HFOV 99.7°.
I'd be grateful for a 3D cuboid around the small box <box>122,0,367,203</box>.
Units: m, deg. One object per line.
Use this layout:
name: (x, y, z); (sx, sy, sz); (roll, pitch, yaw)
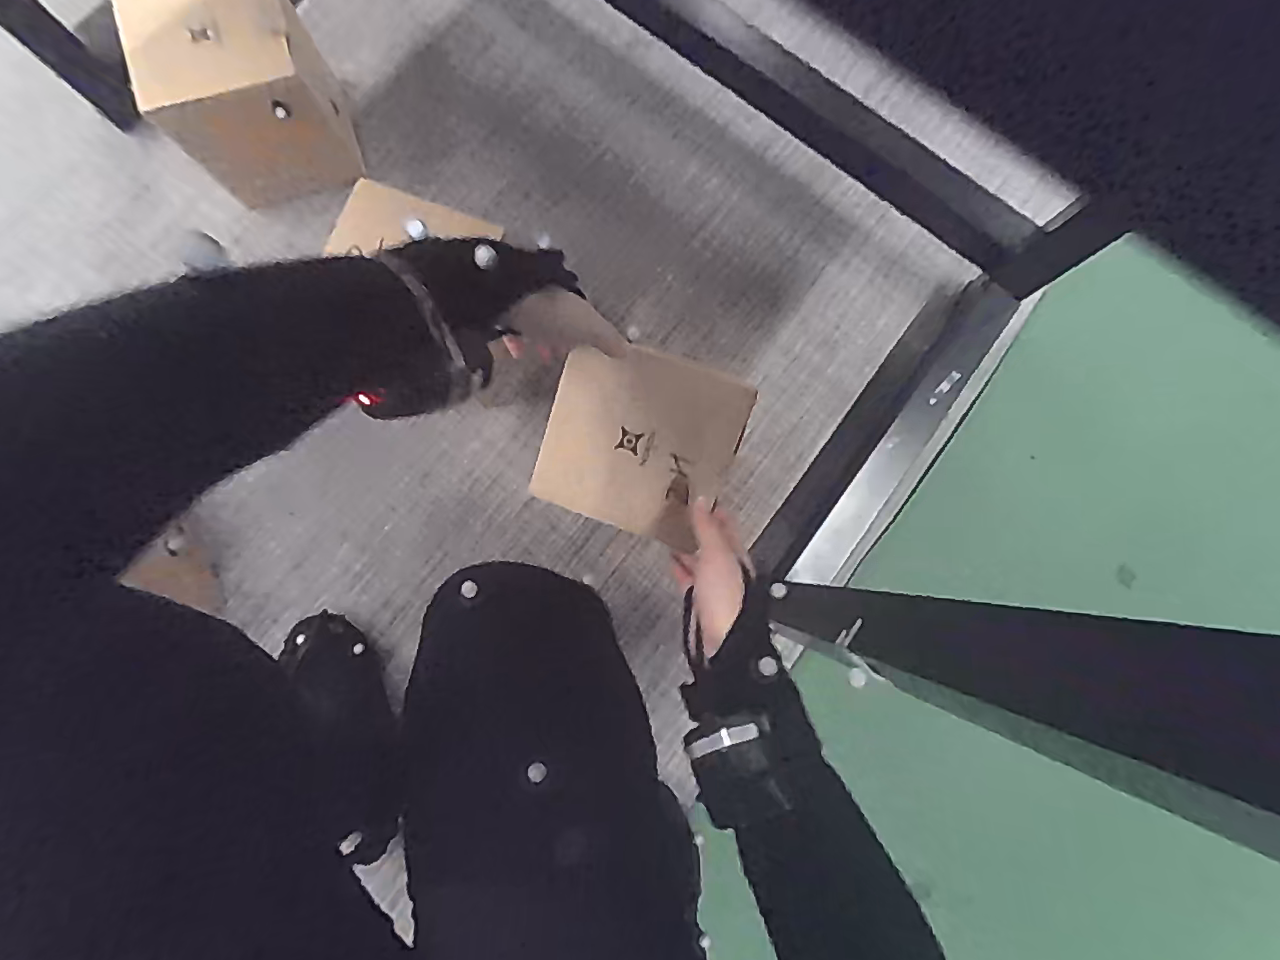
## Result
small box: (-0.487, -0.490, 0.690); (0.179, 0.176, 0.168); (-19, 82, -5)
